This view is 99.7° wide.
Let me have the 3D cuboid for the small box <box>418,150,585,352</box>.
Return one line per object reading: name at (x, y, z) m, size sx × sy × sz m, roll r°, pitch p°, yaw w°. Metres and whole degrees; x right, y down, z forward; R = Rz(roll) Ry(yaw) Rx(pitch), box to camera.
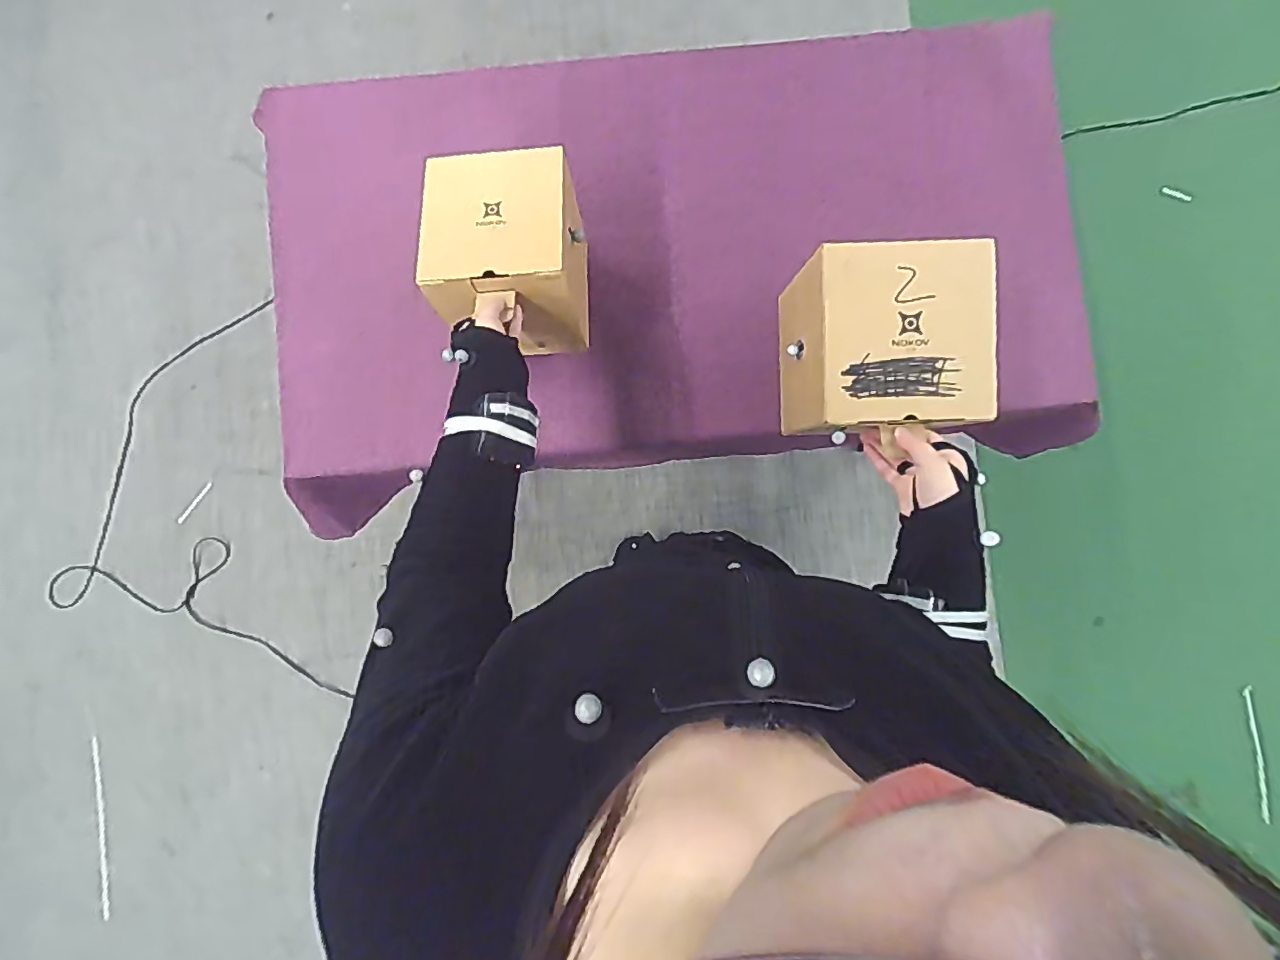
small box at (-0.166, -0.288, 0.704) m, size 0.168 × 0.176 × 0.179 m, roll -3°, pitch 74°, yaw 3°
